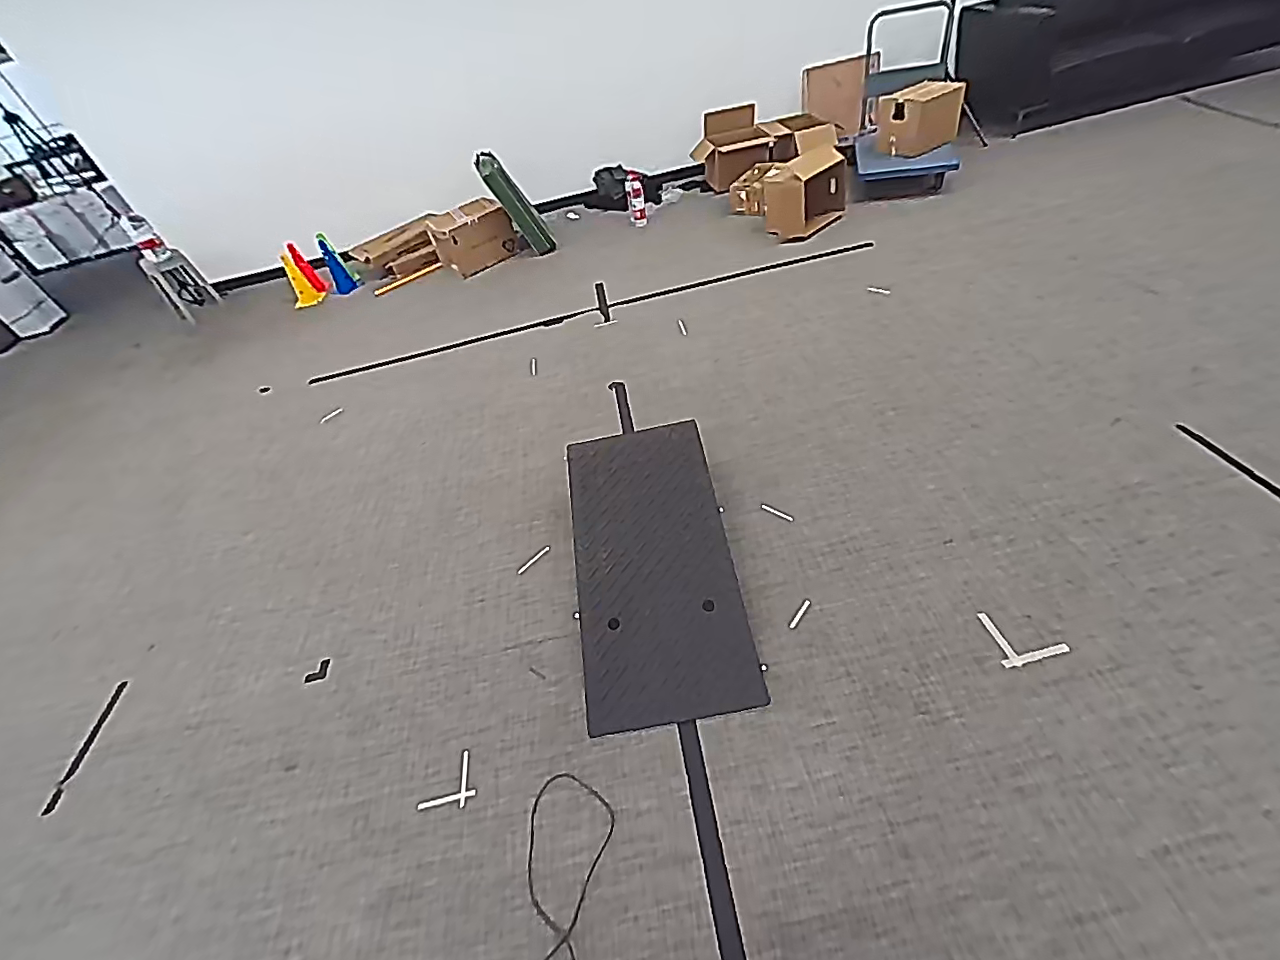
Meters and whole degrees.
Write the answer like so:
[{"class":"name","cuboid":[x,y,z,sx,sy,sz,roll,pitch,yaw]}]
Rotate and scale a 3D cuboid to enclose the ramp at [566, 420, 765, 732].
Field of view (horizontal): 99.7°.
[{"class":"ramp","cuboid":[0.033,0.228,1.720,0.509,0.206,0.991,-12,45,1]}]
